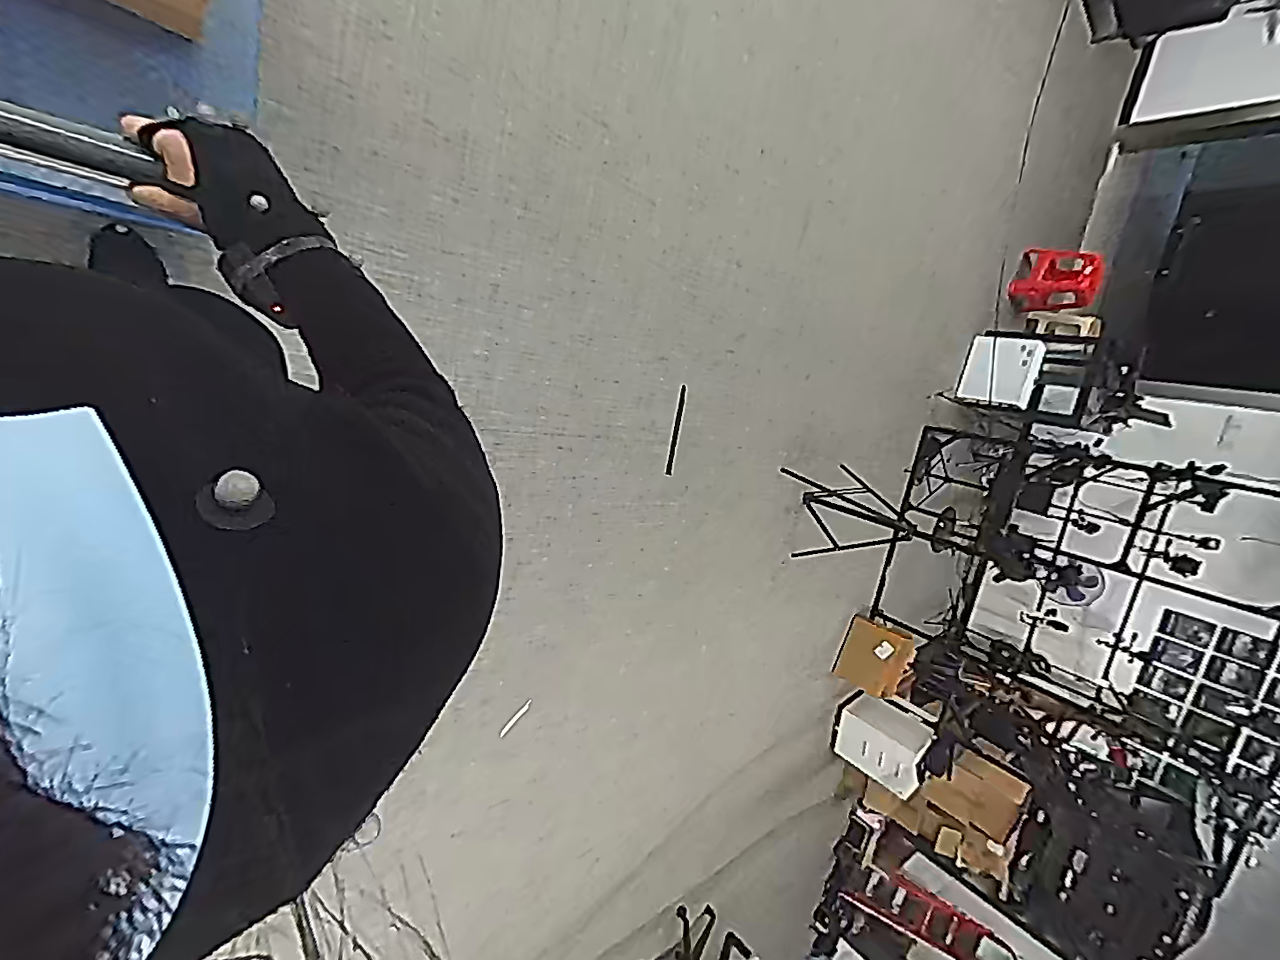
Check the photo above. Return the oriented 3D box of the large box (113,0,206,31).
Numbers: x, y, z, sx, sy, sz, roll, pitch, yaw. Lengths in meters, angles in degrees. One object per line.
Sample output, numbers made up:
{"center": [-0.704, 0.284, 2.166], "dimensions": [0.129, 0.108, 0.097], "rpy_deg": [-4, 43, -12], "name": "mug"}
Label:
{"center": [-0.773, -0.854, 0.645], "dimensions": [0.408, 0.320, 0.320], "rpy_deg": [2, 104, -42], "name": "large box"}
